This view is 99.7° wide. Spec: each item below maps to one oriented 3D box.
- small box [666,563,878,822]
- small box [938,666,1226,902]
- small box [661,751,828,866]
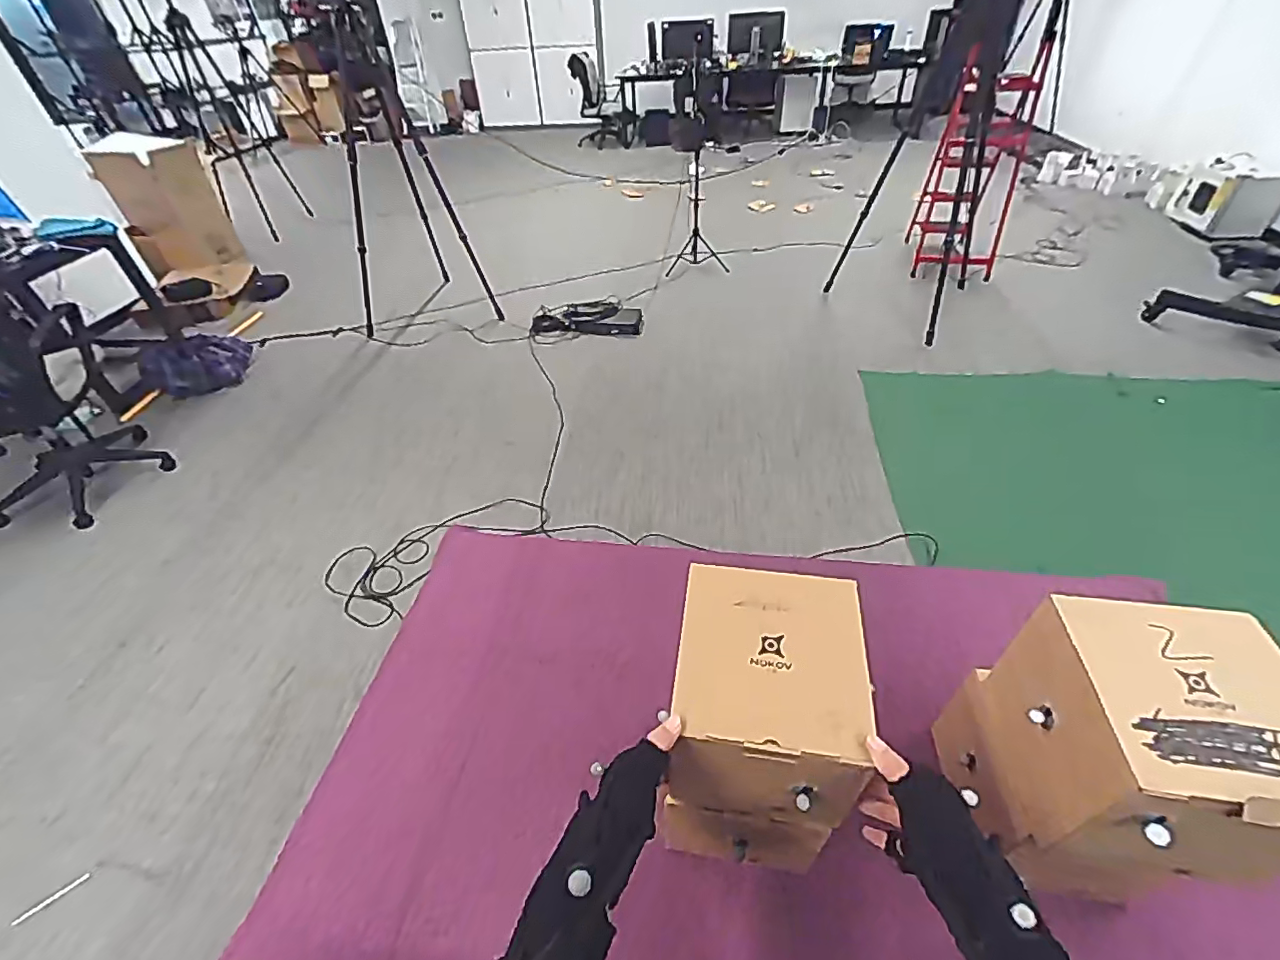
[{"bbox_3d":[0.121,0.209,0.533,0.168,0.176,0.179,6,44,9],"label":"small box"},{"bbox_3d":[0.461,0.340,0.605,0.168,0.176,0.179,7,44,9],"label":"small box"},{"bbox_3d":[0.121,0.330,0.643,0.168,0.176,0.179,5,44,9],"label":"small box"}]
